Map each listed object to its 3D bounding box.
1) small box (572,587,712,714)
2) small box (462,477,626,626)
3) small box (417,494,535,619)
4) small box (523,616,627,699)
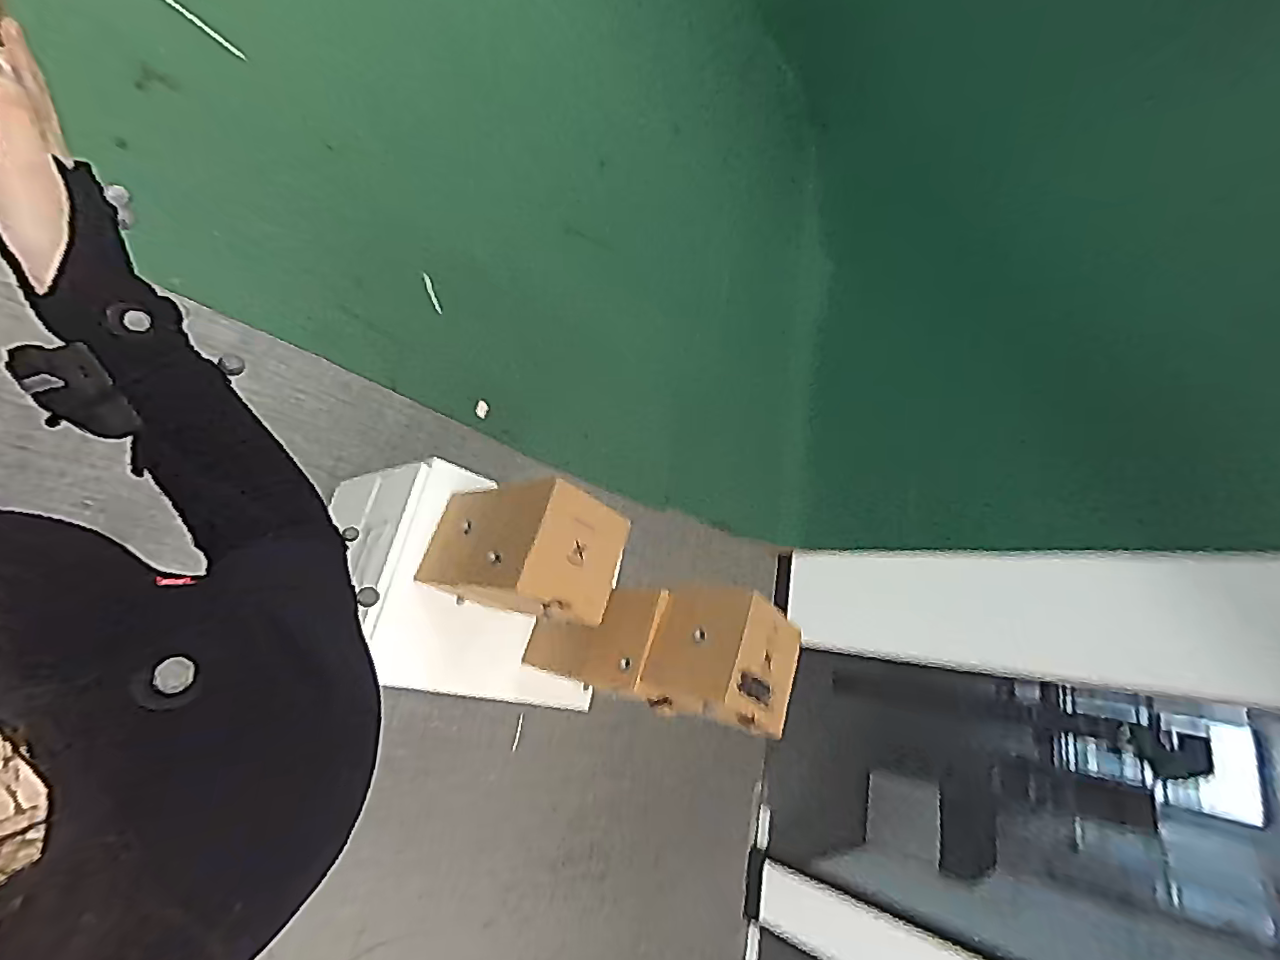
[{"bbox_3d":[0.003,0.305,0.989,0.168,0.176,0.179,36,62,-37],"label":"small box"},{"bbox_3d":[-0.154,0.115,0.854,0.168,0.176,0.179,35,61,-39],"label":"small box"},{"bbox_3d":[-0.268,0.132,0.968,0.168,0.176,0.179,35,63,-38],"label":"small box"},{"bbox_3d":[-0.110,0.325,1.104,0.168,0.176,0.179,37,60,-36],"label":"small box"}]
